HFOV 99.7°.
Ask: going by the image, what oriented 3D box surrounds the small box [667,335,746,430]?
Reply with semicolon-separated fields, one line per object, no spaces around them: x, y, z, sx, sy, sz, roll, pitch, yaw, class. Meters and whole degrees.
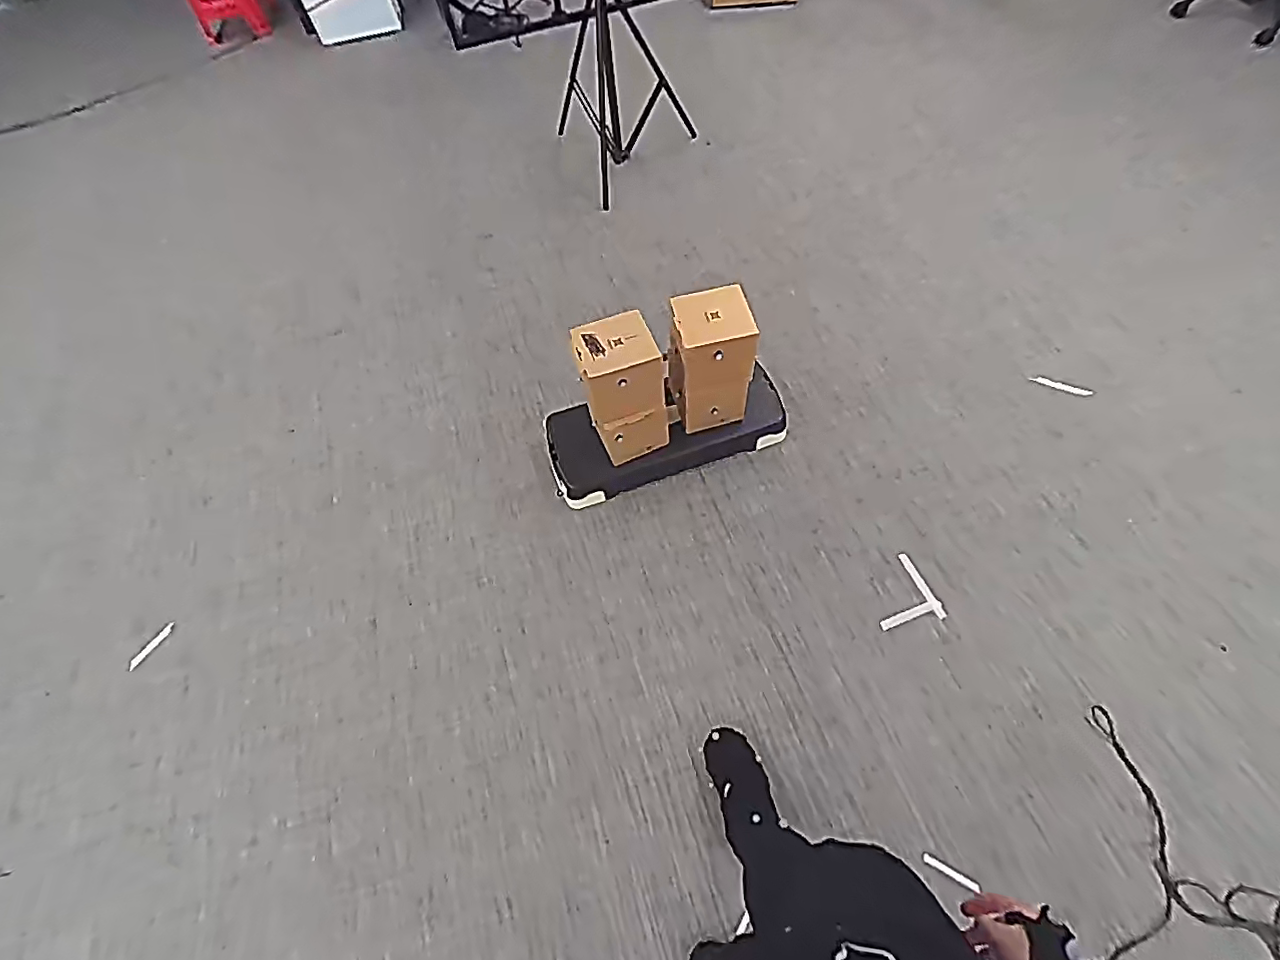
0.177;-0.253;1.456;0.168;0.176;0.179;-15;61;-3;small box
